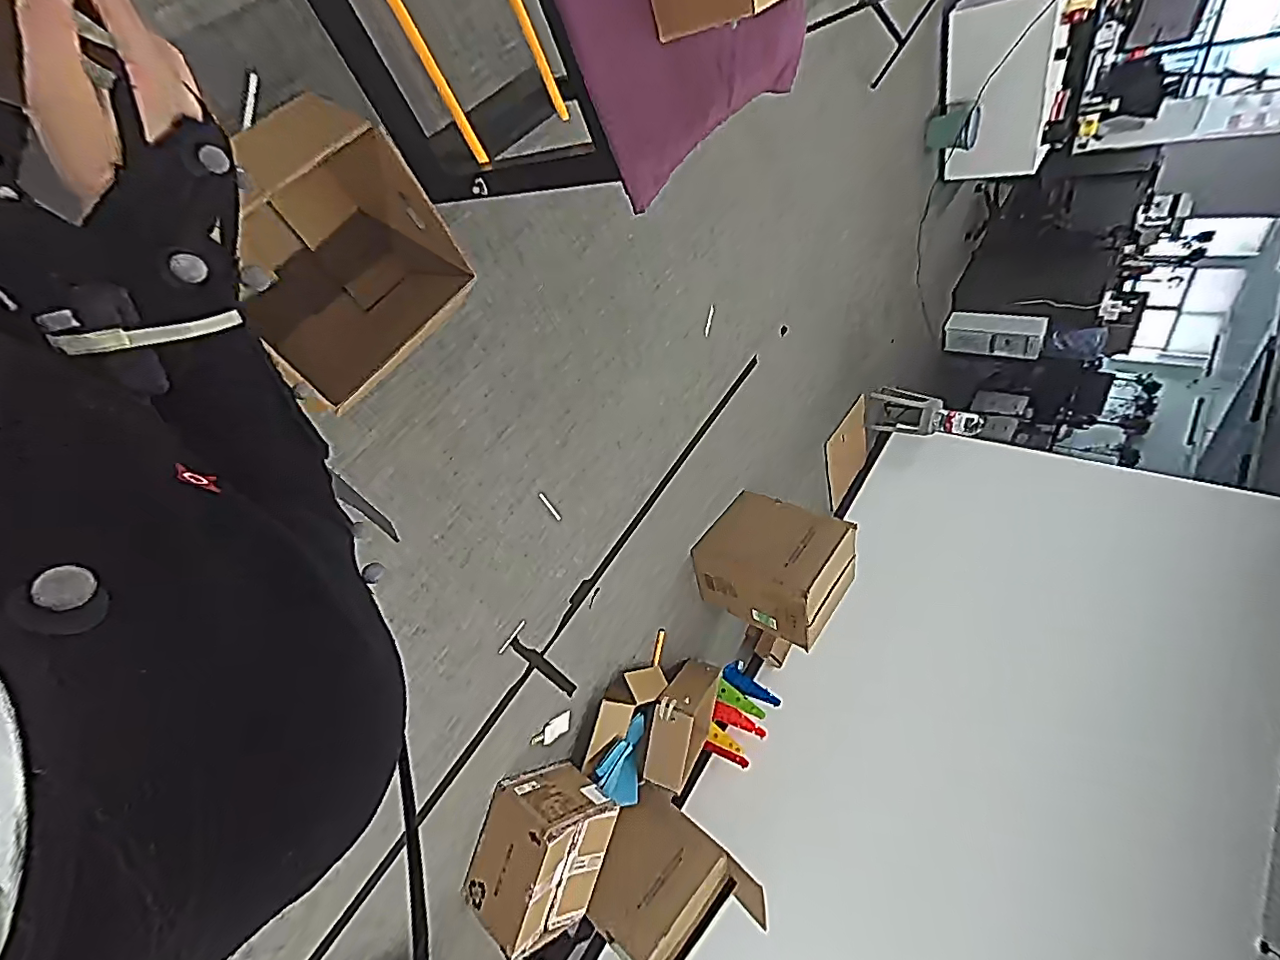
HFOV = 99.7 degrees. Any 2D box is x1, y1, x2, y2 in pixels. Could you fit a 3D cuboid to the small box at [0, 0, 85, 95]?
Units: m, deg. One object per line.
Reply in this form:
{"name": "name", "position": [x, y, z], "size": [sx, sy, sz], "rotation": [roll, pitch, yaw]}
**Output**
{"name": "small box", "position": [-0.368, -0.315, 0.231], "size": [0.168, 0.176, 0.179], "rotation": [-3, 102, -51]}

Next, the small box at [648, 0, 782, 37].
{"name": "small box", "position": [0.109, -0.761, 0.763], "size": [0.168, 0.176, 0.179], "rotation": [-49, 137, -27]}
